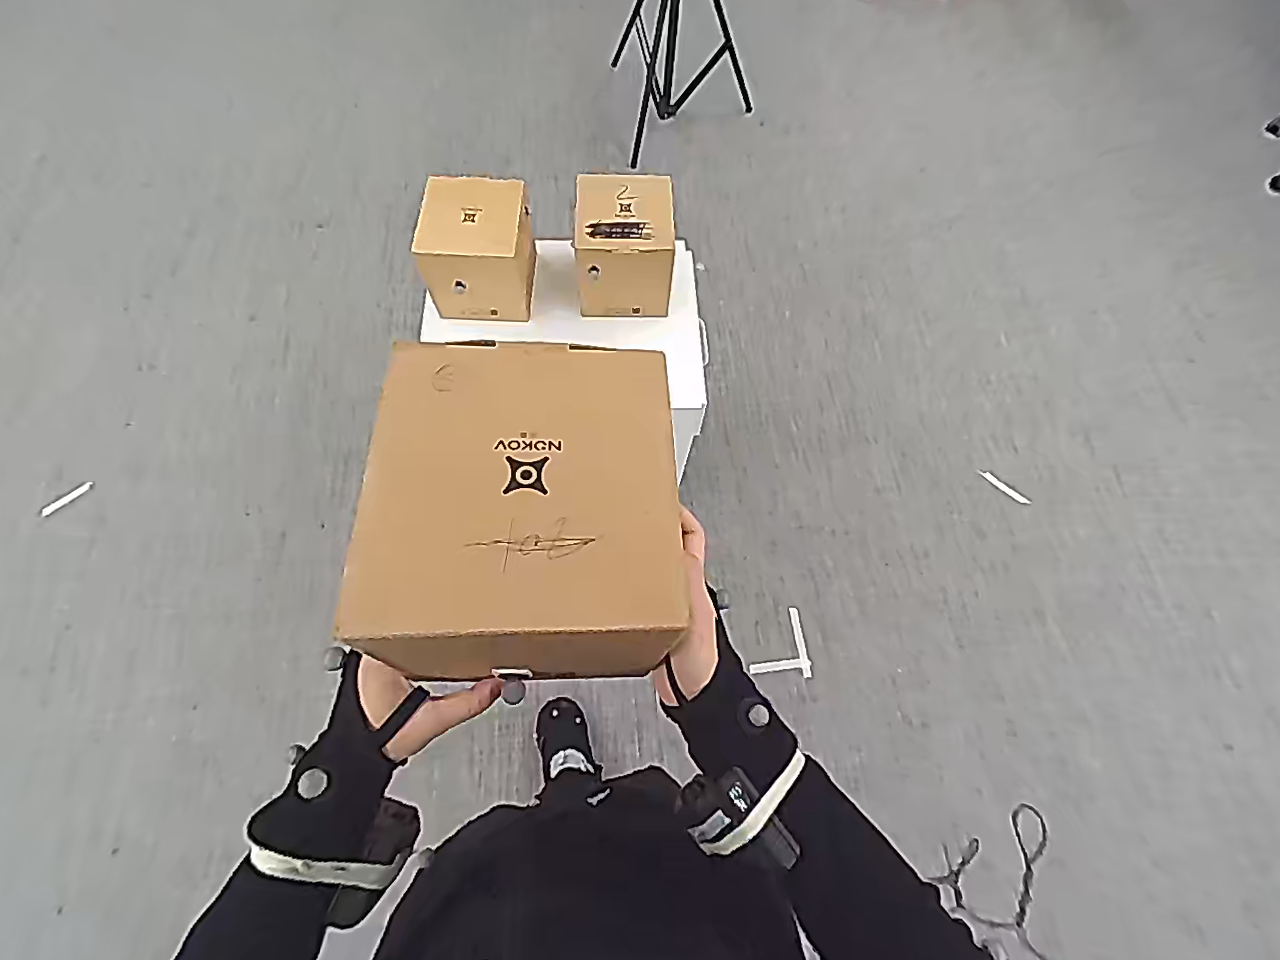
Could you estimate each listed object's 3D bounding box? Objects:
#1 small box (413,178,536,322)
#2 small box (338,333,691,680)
[{"bbox_3d":[-0.282,-0.402,0.965,0.168,0.176,0.179,1,67,-2],"label":"small box"},{"bbox_3d":[-0.068,0.028,0.359,0.168,0.176,0.179,0,63,-7],"label":"small box"}]
